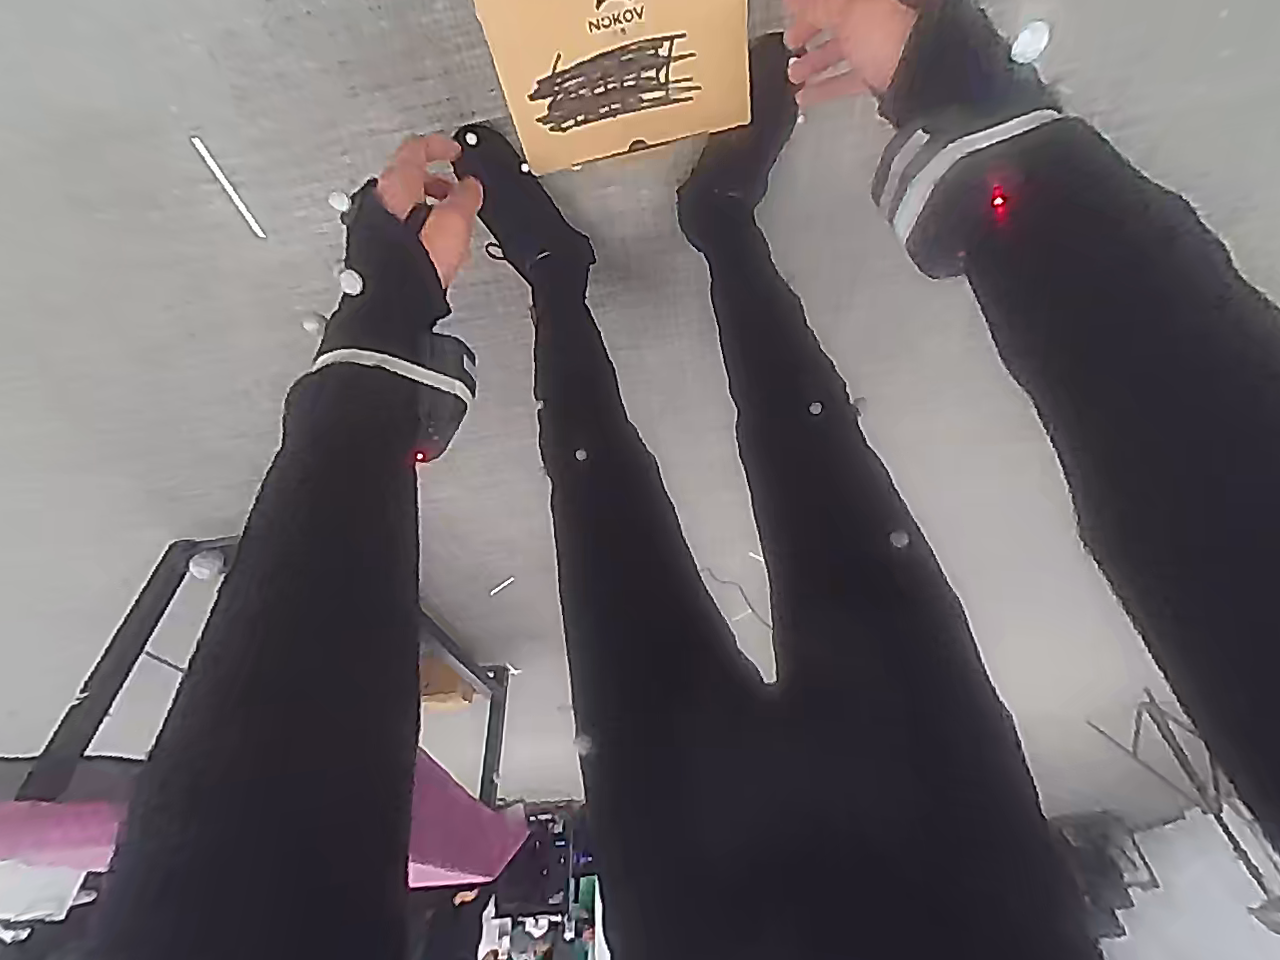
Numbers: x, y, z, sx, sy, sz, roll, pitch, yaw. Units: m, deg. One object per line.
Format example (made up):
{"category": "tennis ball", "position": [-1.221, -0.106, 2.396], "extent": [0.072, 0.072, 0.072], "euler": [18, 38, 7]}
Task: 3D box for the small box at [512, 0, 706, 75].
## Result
{"category": "small box", "position": [-0.035, -0.490, 0.471], "extent": [0.168, 0.176, 0.179], "euler": [-6, 142, 1]}
